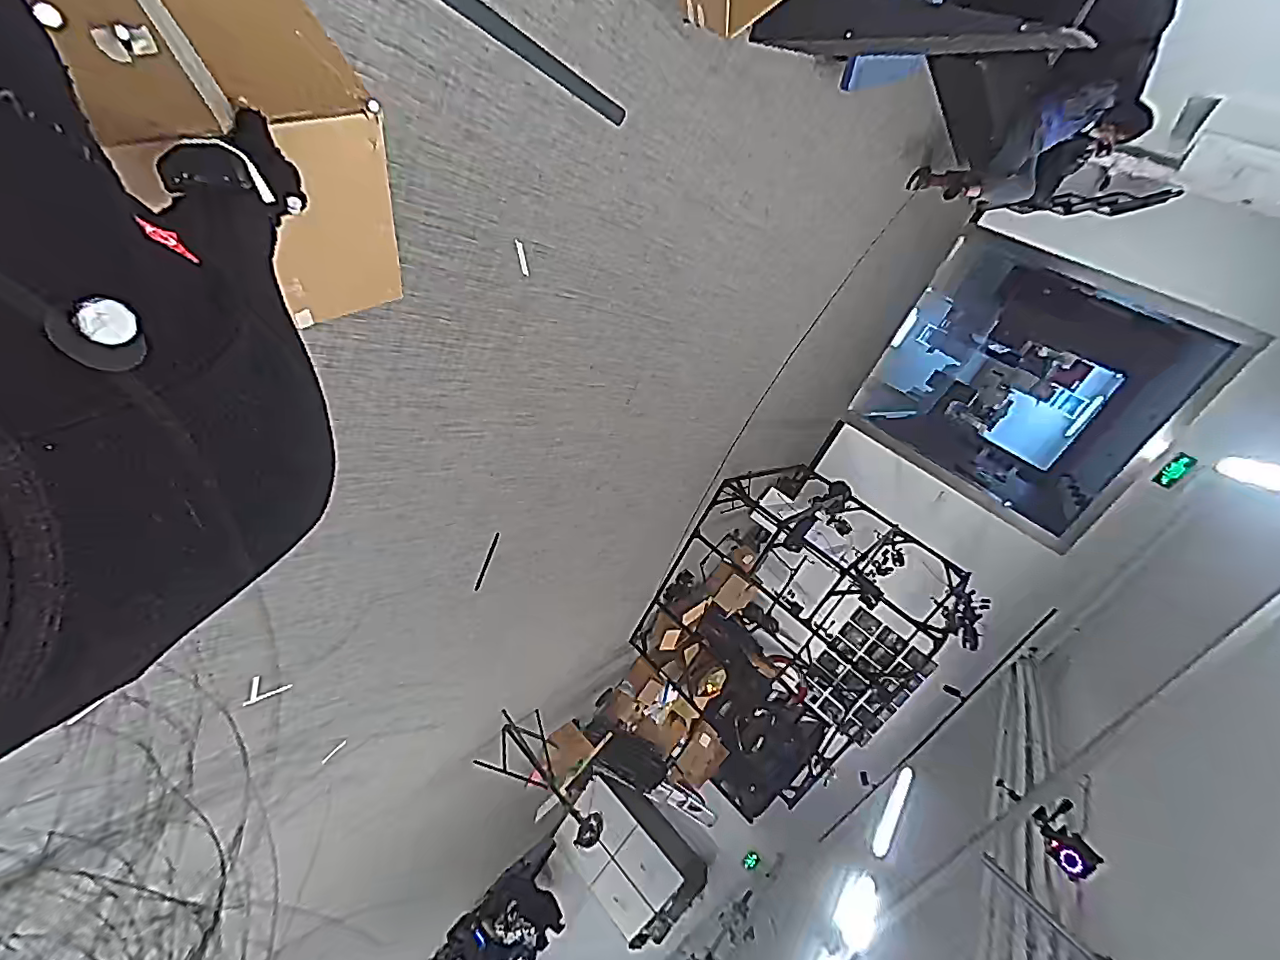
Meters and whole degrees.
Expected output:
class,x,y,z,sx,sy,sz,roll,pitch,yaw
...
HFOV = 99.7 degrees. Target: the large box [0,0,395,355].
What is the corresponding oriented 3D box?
class,x,y,z,sx,sy,sz,roll,pitch,yaw
large box,-0.587,-0.453,0.729,0.320,0.408,0.320,-31,169,-27
